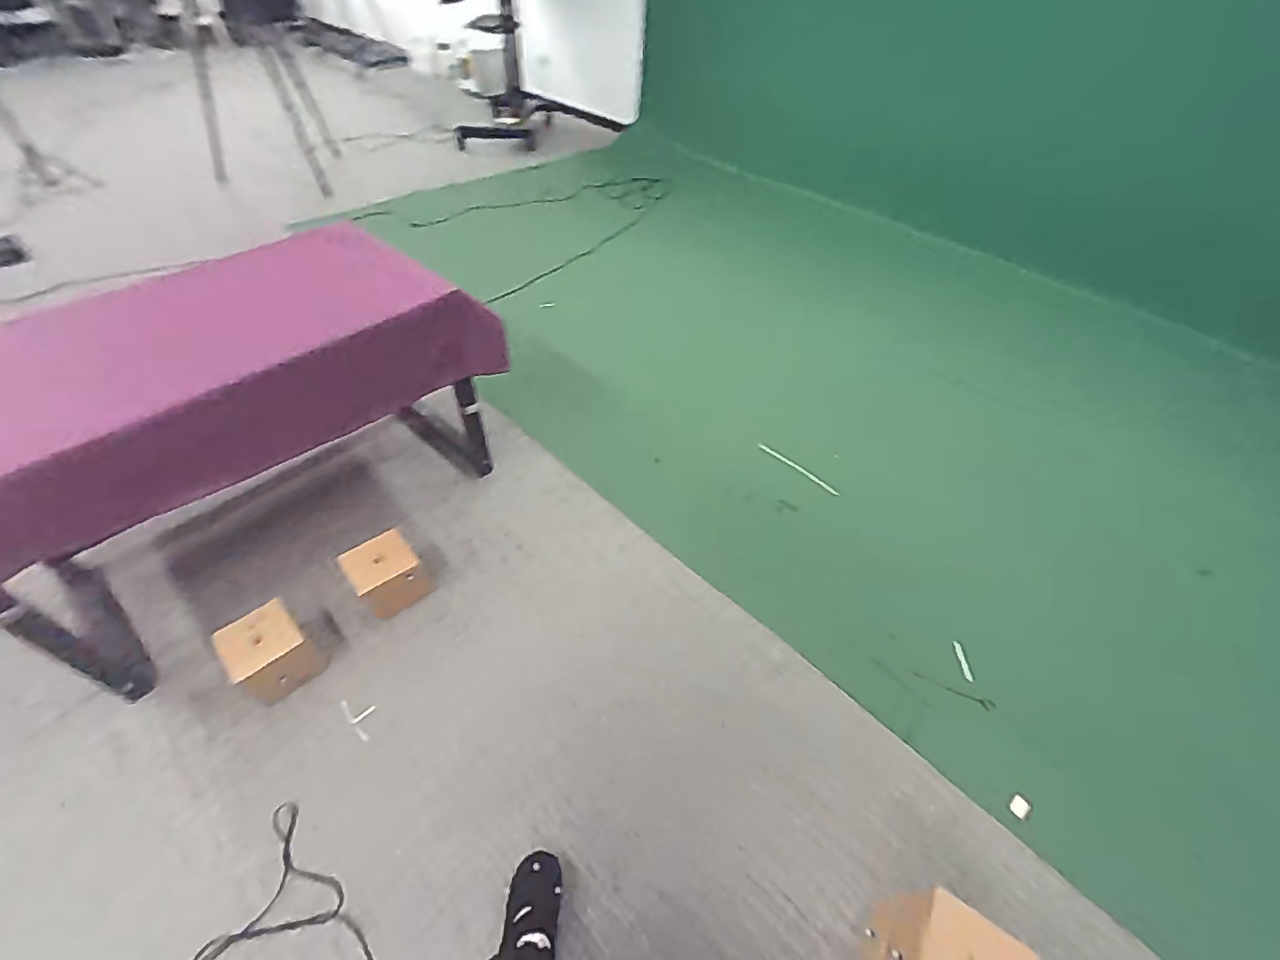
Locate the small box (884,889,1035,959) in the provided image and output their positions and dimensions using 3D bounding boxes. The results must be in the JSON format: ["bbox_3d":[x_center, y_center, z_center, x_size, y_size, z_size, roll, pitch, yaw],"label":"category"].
[{"bbox_3d":[0.542,0.862,0.937,0.179,0.176,0.168,29,53,21],"label":"small box"}]
